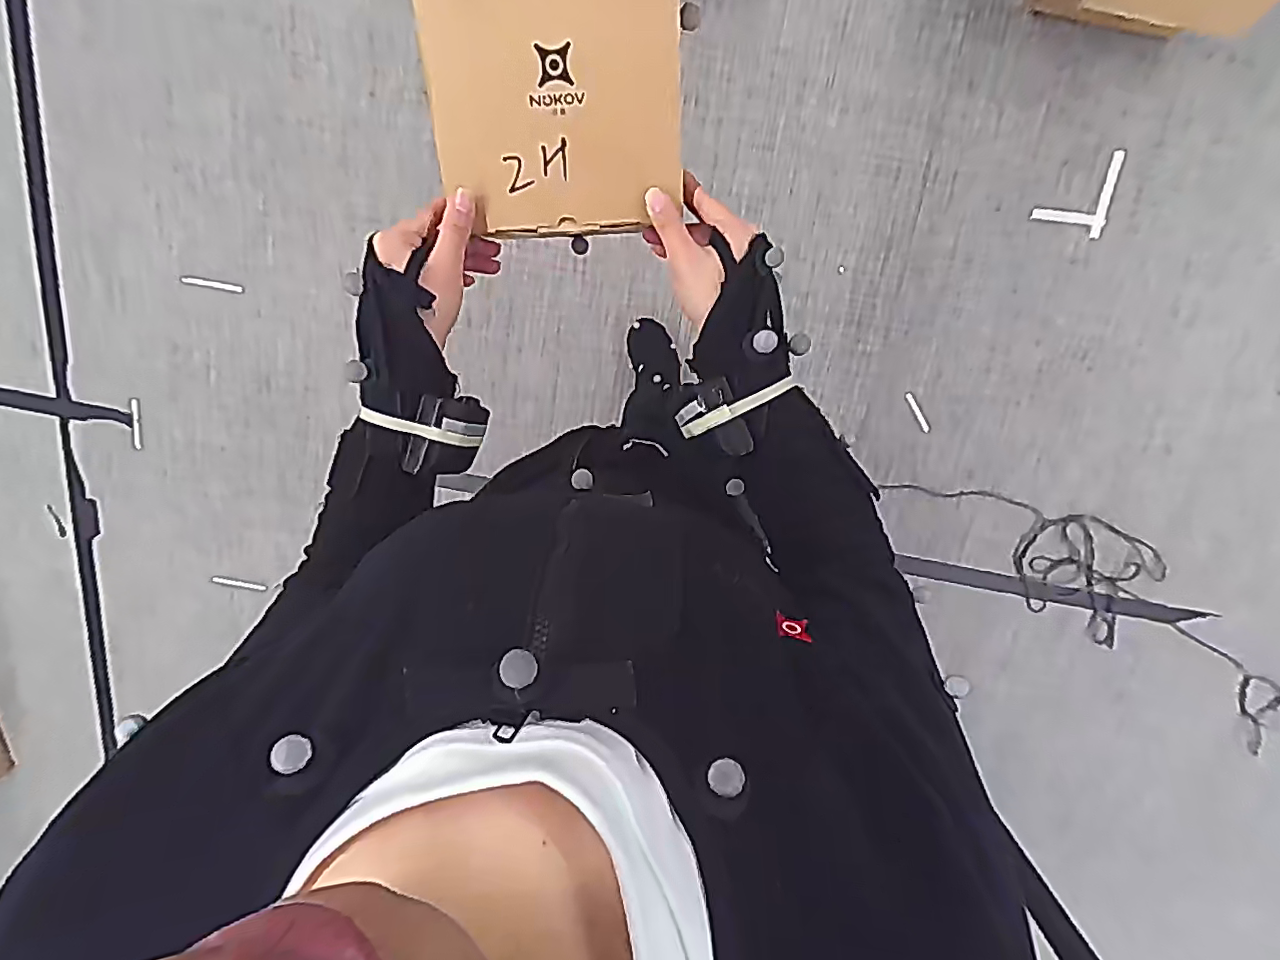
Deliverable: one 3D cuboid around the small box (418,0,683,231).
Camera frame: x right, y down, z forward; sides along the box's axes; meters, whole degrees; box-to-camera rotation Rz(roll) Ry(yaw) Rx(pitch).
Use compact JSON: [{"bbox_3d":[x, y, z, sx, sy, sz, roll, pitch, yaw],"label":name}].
[{"bbox_3d":[-0.057,-0.295,0.419,0.168,0.176,0.179,-3,113,0],"label":"small box"}]
